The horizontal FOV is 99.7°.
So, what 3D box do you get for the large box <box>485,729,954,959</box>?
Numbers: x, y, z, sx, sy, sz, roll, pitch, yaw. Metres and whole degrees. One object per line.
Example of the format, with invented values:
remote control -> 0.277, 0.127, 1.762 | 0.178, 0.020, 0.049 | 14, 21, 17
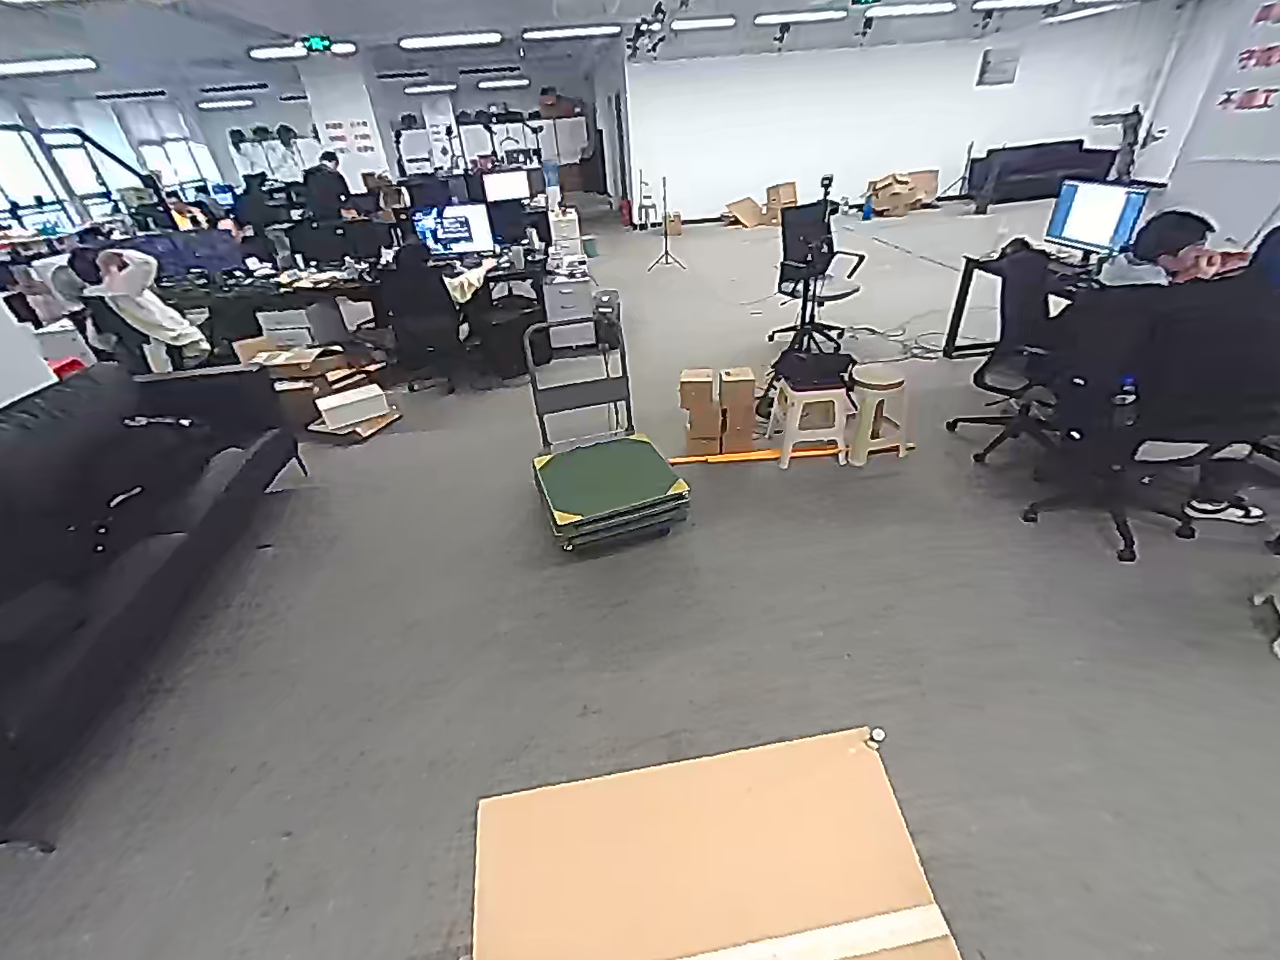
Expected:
large box -> 0.072, 0.505, 0.581 | 0.408, 0.320, 0.320 | -10, 53, -4
